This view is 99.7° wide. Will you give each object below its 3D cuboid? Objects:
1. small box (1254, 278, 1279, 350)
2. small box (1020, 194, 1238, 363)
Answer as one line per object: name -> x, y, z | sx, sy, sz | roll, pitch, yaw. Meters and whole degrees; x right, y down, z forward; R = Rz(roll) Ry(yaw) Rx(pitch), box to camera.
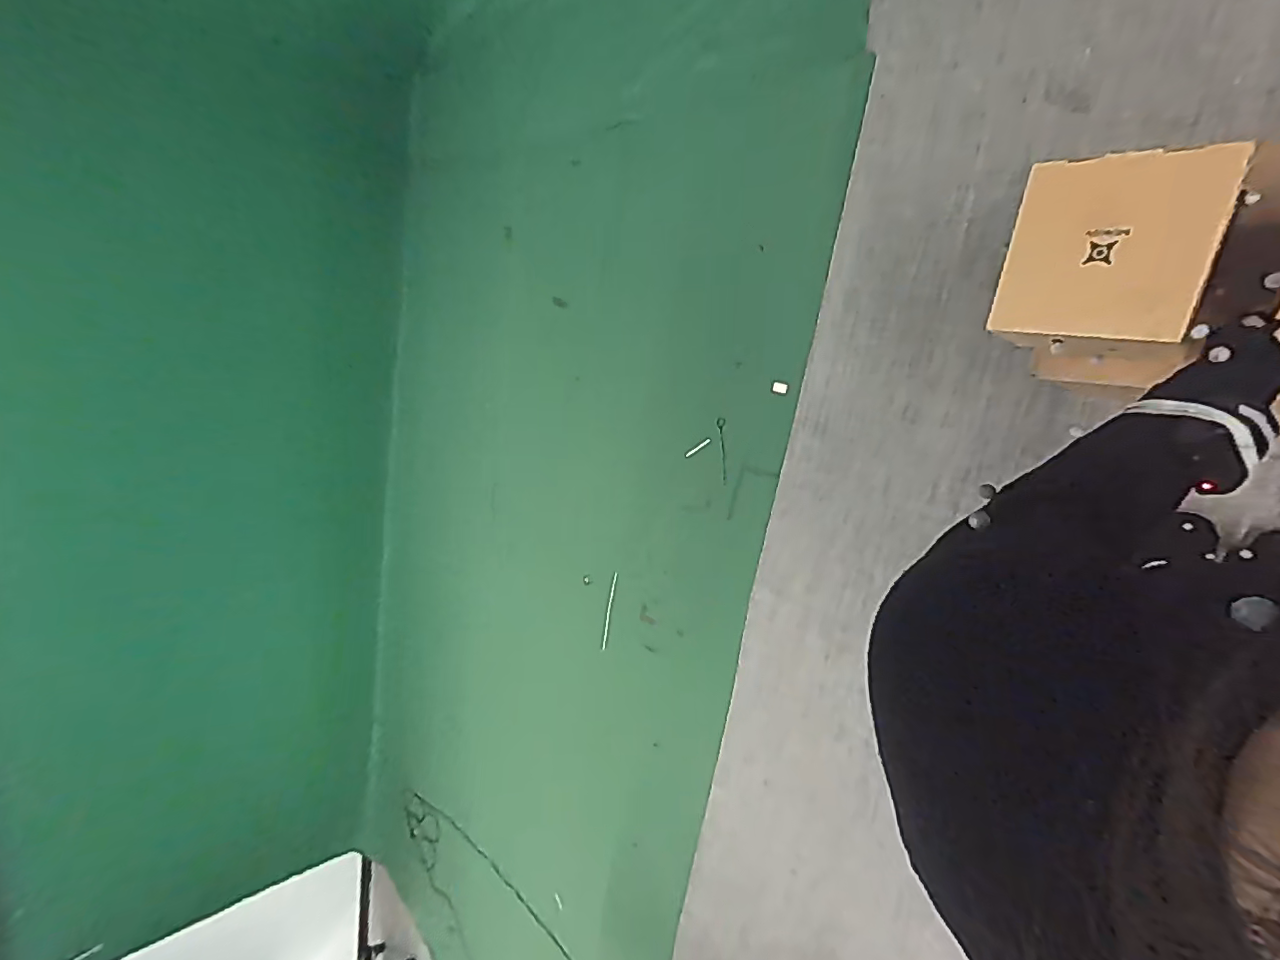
small box -> 0.681, -0.191, 0.458 | 0.168, 0.176, 0.179 | 28, 112, 43
small box -> 0.646, -0.262, 0.727 | 0.168, 0.176, 0.179 | 22, 109, 41
